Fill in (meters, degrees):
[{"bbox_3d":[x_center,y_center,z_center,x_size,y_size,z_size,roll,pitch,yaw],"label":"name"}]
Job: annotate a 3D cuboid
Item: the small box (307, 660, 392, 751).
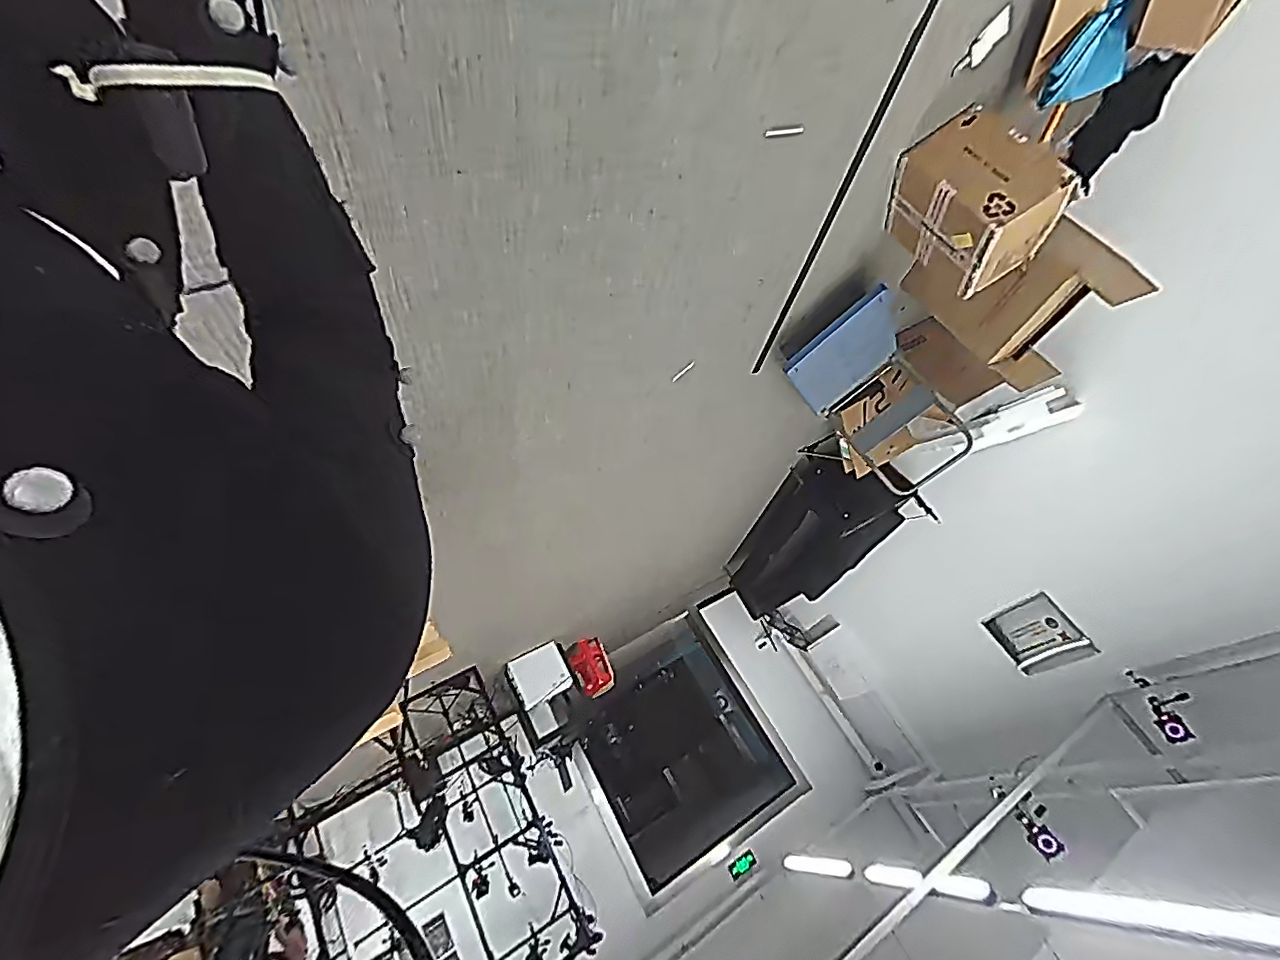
[{"bbox_3d":[-0.863,0.668,1.604,0.179,0.176,0.168,-22,154,-26],"label":"small box"}]
